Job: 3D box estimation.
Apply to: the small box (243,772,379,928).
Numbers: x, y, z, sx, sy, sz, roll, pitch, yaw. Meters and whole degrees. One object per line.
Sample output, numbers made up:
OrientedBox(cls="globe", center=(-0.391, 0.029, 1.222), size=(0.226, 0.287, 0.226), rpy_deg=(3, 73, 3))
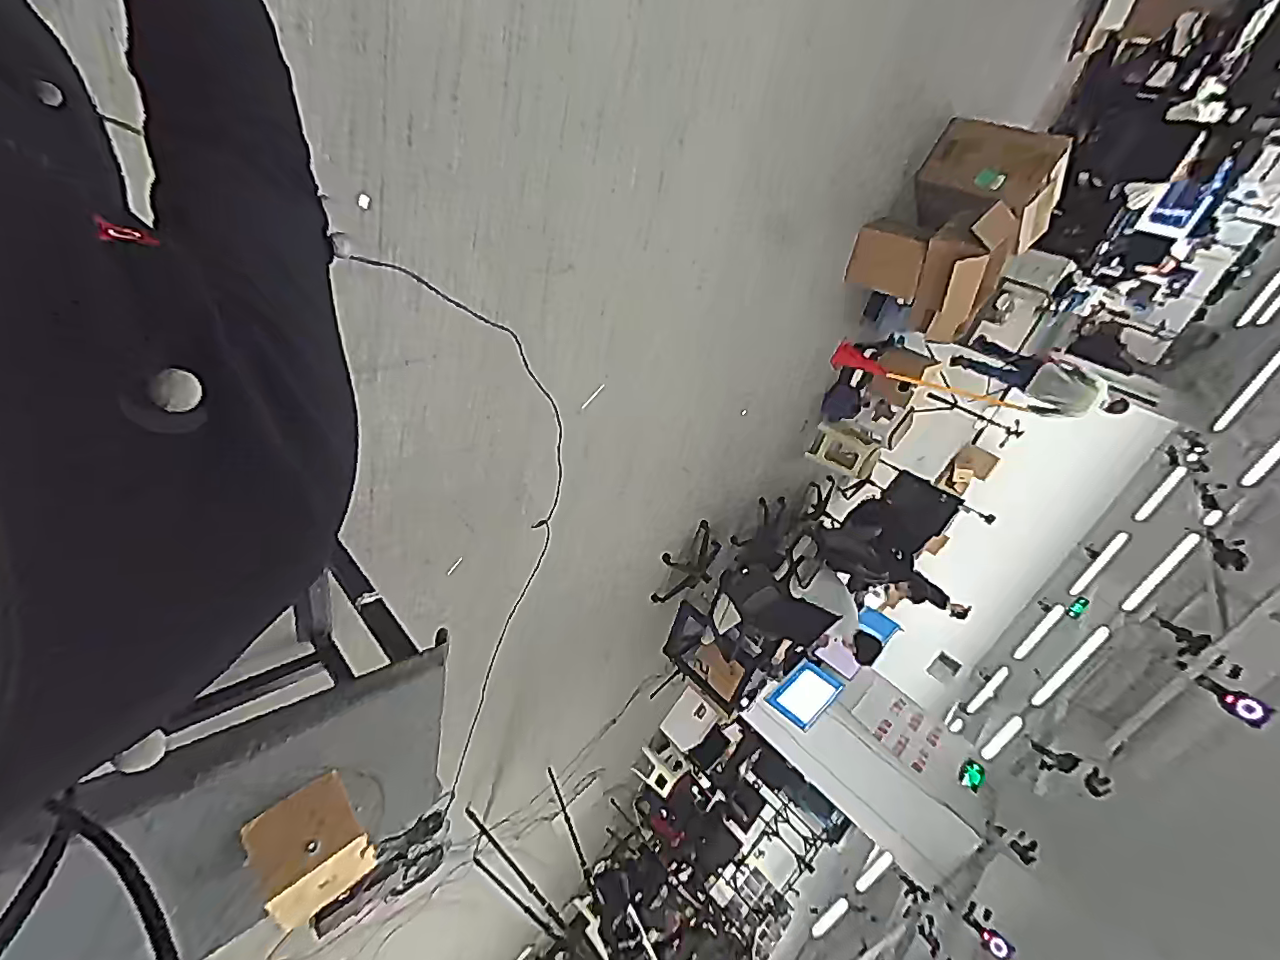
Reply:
OrientedBox(cls="small box", center=(-0.666, 0.743, 1.101), size=(0.179, 0.176, 0.168), rpy_deg=(-25, 138, -37))
